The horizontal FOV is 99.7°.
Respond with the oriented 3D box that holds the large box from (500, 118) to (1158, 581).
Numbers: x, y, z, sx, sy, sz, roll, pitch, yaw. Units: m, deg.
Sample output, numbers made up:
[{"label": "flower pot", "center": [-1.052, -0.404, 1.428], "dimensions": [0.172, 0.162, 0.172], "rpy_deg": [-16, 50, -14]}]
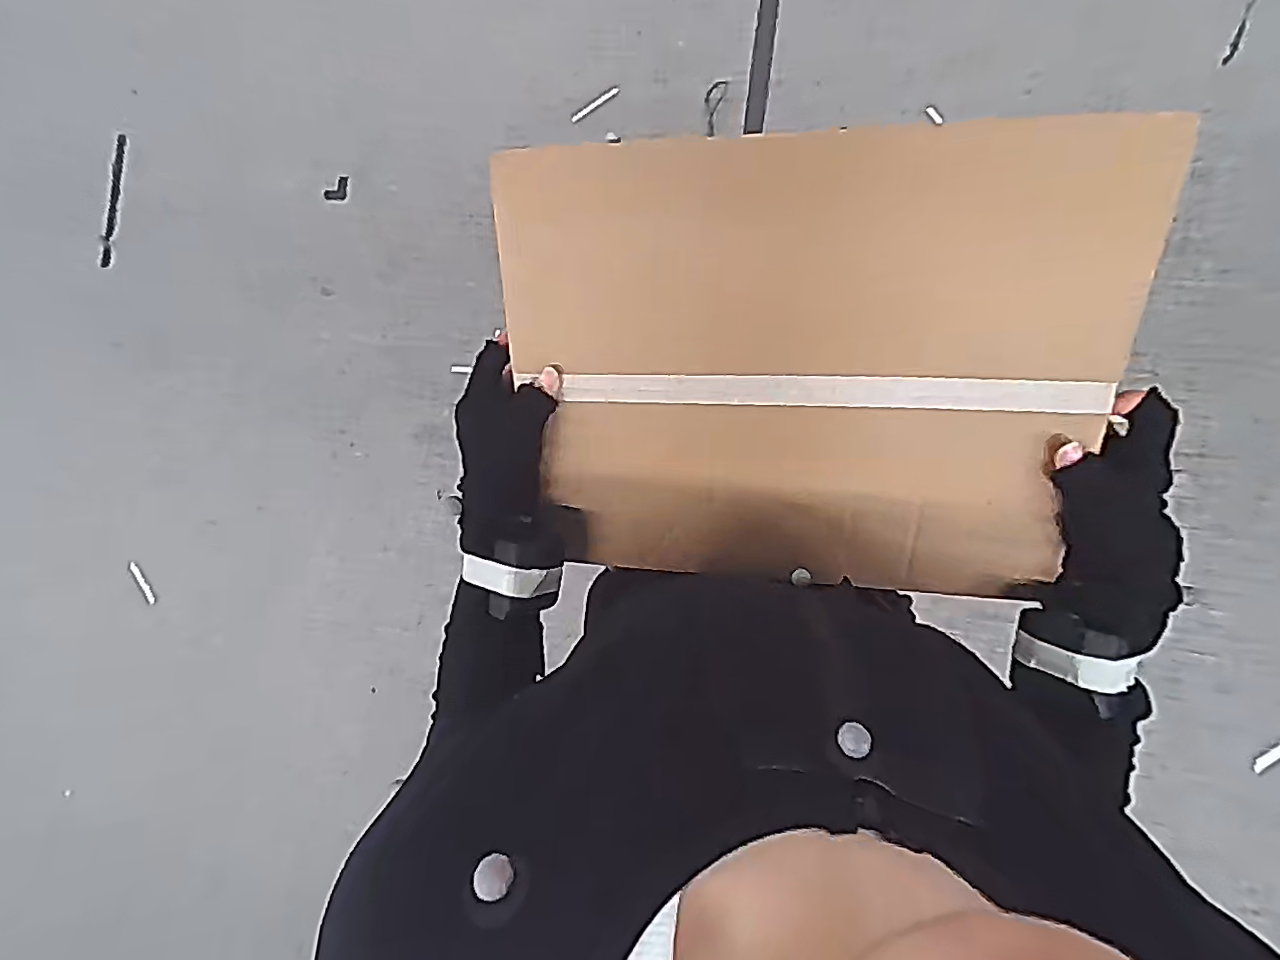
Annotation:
[{"label": "large box", "center": [0.127, -0.127, 0.529], "dimensions": [0.408, 0.320, 0.320], "rpy_deg": [3, 115, 10]}]
